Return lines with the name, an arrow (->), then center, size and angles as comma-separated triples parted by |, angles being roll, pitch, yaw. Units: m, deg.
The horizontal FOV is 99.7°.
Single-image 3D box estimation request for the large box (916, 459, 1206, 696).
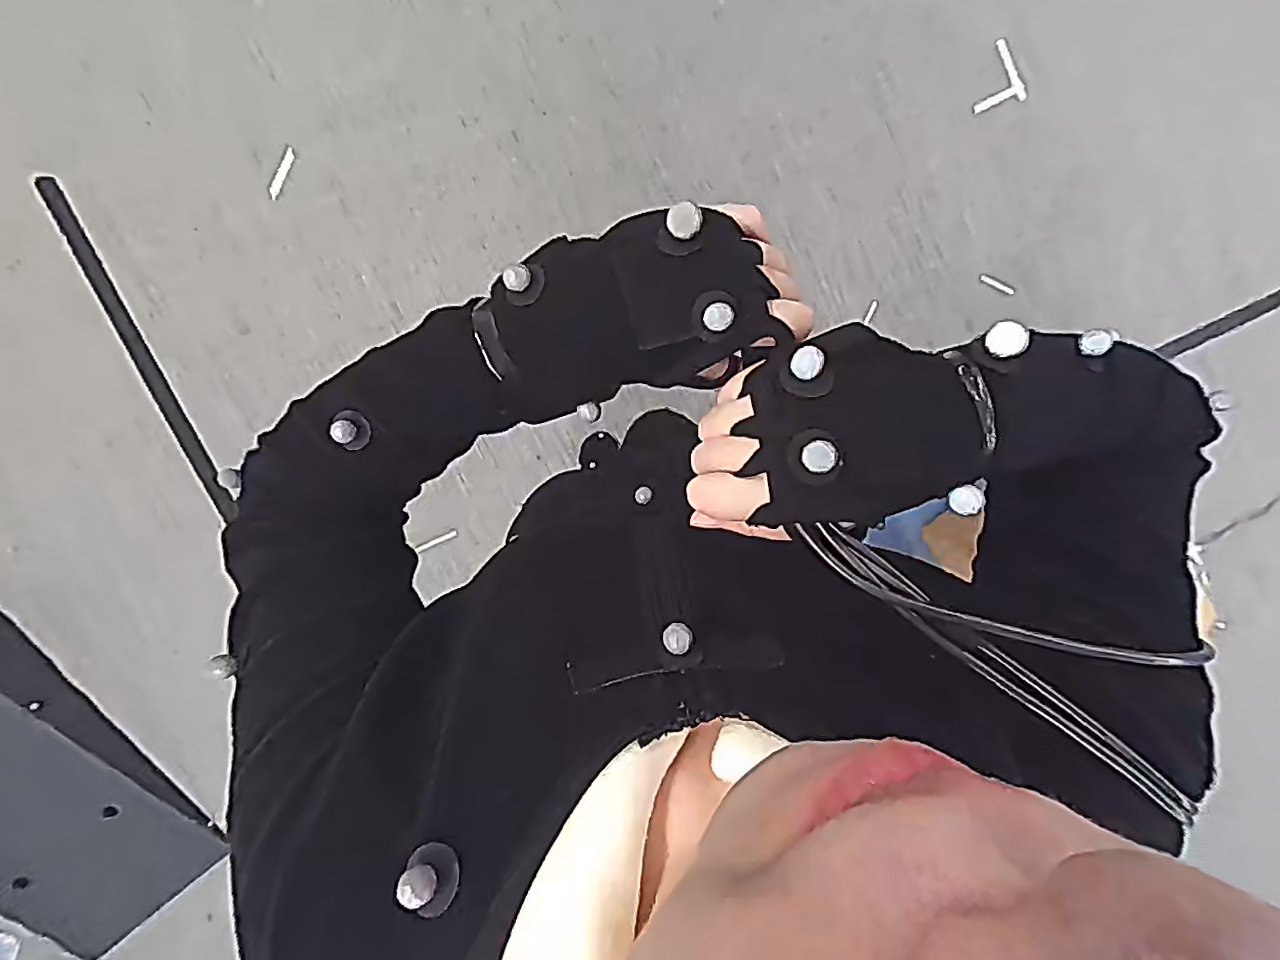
large box -> 0.951, 0.200, 1.266 | 0.320, 0.320, 0.408 | -36, 97, -1
